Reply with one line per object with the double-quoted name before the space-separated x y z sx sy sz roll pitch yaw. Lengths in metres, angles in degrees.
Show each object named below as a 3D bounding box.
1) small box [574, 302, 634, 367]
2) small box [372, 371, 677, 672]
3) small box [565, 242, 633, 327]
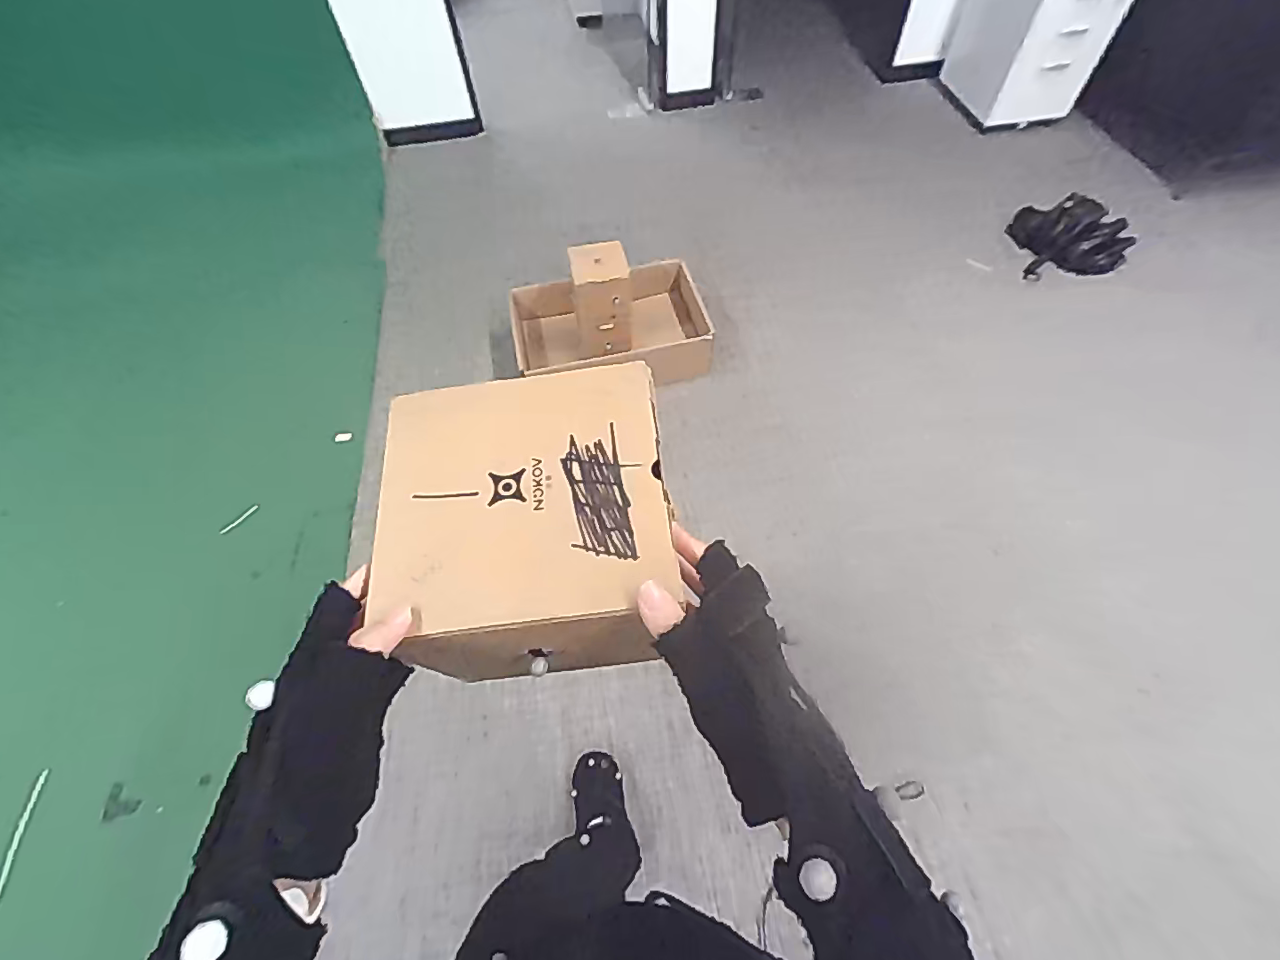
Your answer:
"small box" -0.118 -0.499 1.813 0.168 0.176 0.179 -12 58 -5
"small box" -0.068 0.043 0.410 0.179 0.176 0.168 -7 62 2
"small box" -0.122 -0.592 1.660 0.168 0.176 0.179 -15 59 -6
